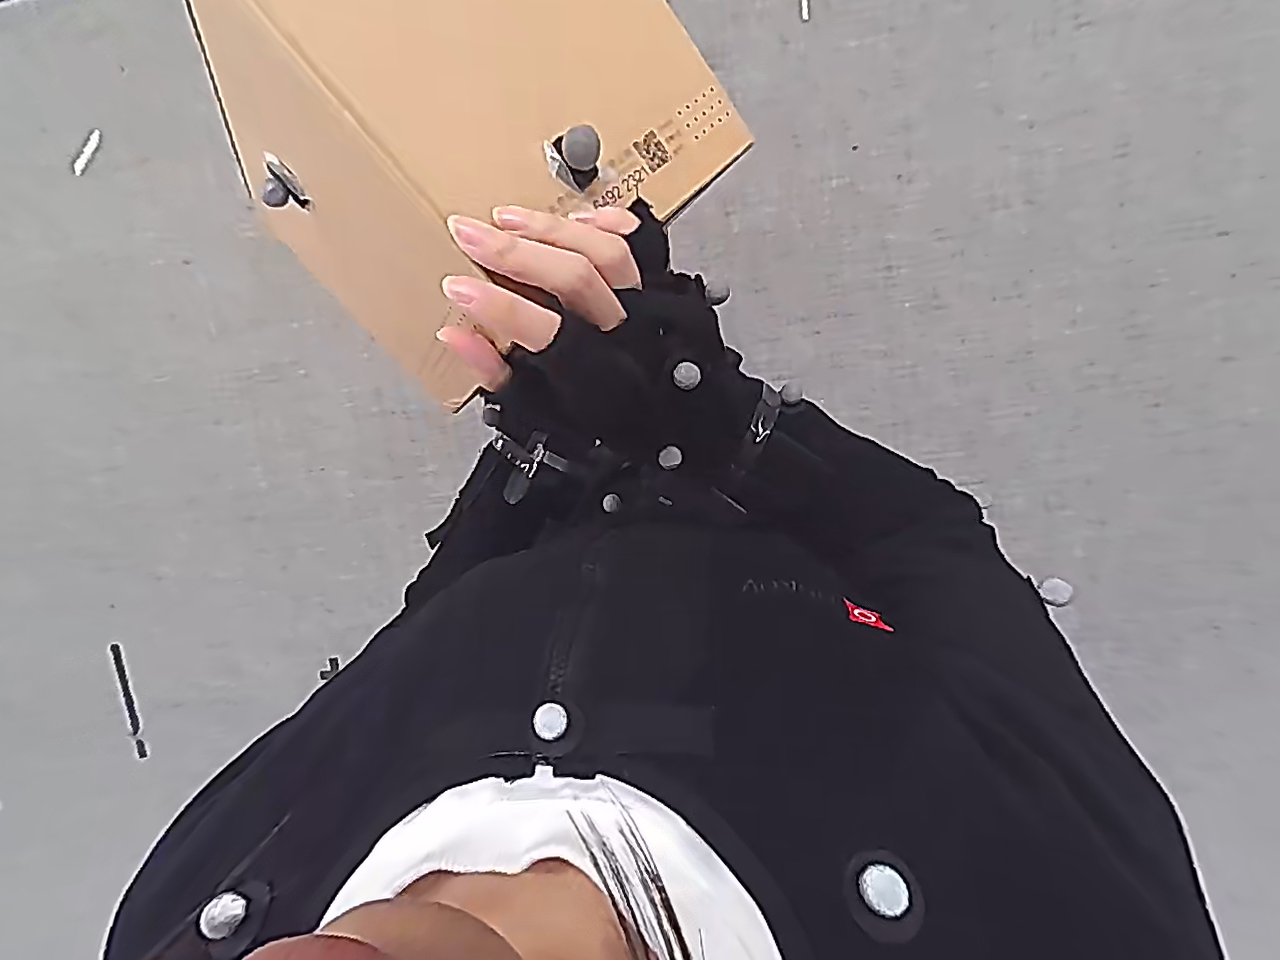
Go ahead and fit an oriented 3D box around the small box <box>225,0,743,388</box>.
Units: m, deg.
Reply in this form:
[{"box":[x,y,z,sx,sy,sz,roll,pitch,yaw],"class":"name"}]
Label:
[{"box":[-0.080,-0.174,0.308,0.176,0.179,0.168,48,67,-16],"class":"small box"}]
